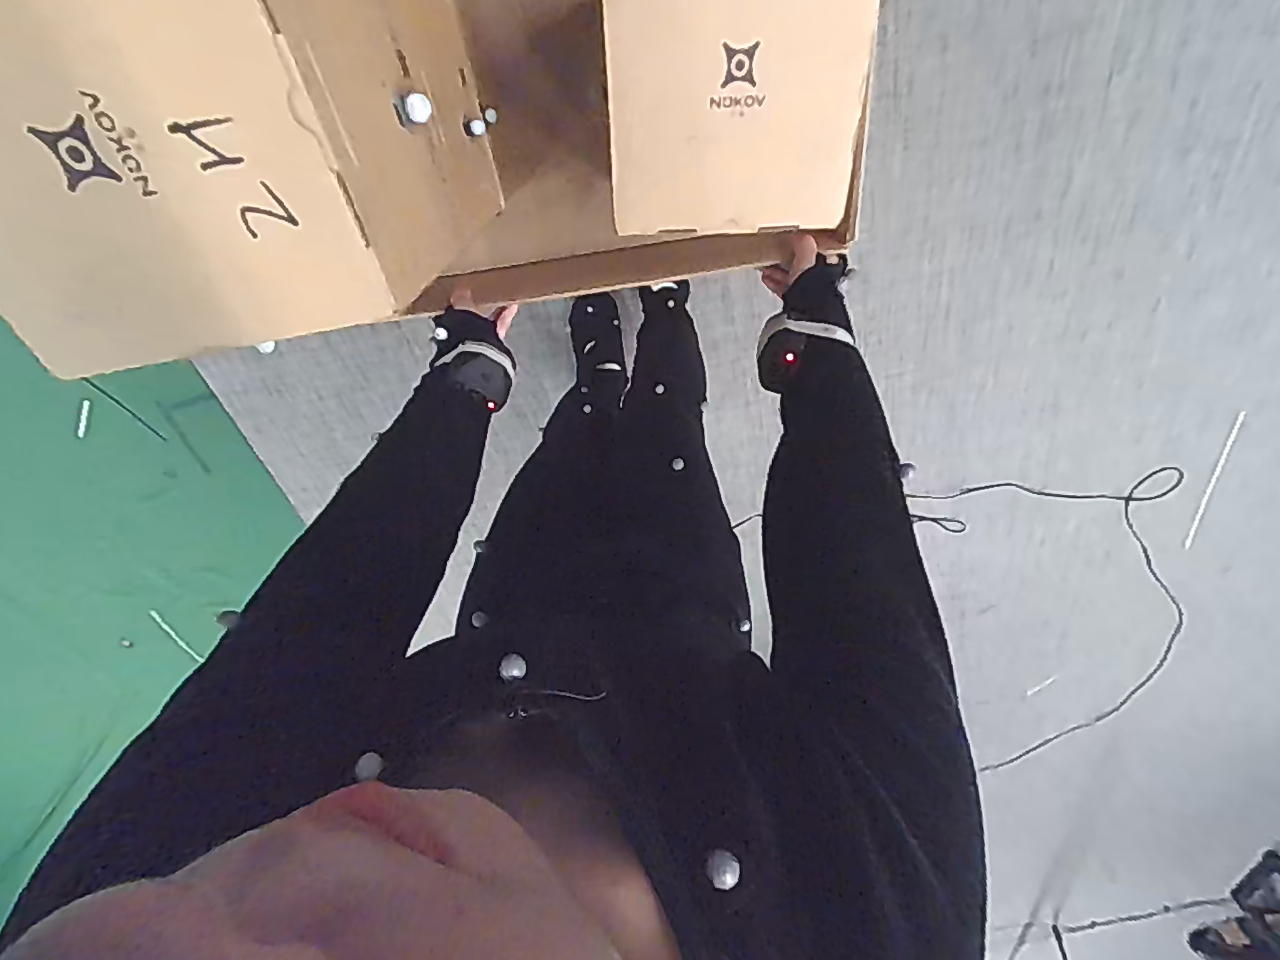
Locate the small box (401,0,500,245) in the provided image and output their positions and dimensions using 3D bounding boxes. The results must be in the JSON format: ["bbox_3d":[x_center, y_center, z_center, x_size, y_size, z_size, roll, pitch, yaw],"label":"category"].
[{"bbox_3d":[-0.225,-0.272,0.416,0.179,0.176,0.168,-9,125,2],"label":"small box"}]

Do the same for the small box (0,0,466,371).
[{"bbox_3d":[-0.214,-0.176,0.282,0.179,0.176,0.168,-9,125,2],"label":"small box"}]
